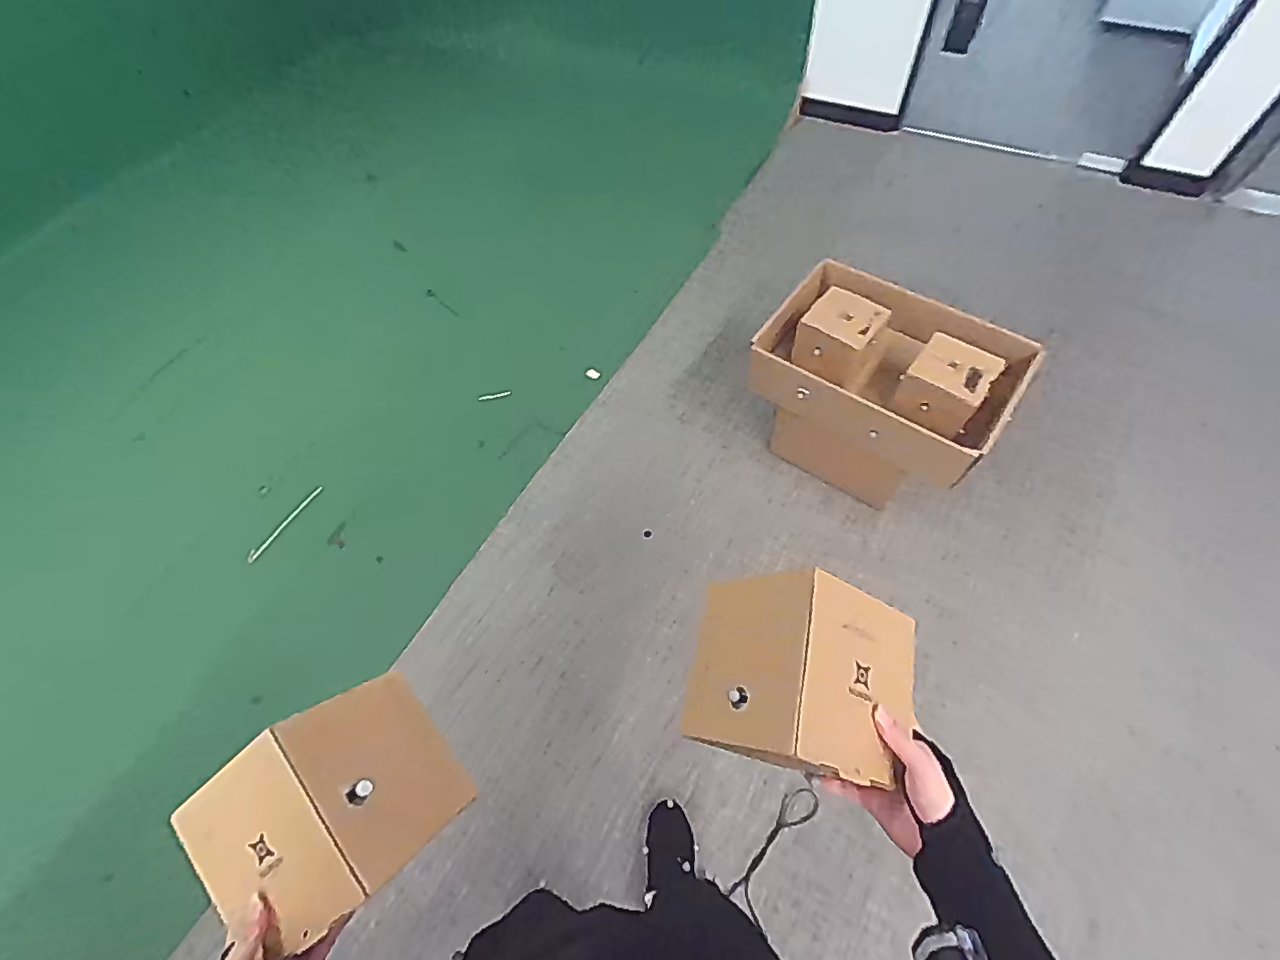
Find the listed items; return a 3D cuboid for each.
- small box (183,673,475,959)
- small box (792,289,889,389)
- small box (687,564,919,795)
[{"bbox_3d":[-0.317,0.331,0.577,0.168,0.176,0.179,-41,80,14],"label":"small box"},{"bbox_3d":[0.534,-0.379,1.470,0.179,0.176,0.168,35,70,23],"label":"small box"},{"bbox_3d":[0.173,0.212,0.588,0.168,0.176,0.179,30,60,-23],"label":"small box"}]
